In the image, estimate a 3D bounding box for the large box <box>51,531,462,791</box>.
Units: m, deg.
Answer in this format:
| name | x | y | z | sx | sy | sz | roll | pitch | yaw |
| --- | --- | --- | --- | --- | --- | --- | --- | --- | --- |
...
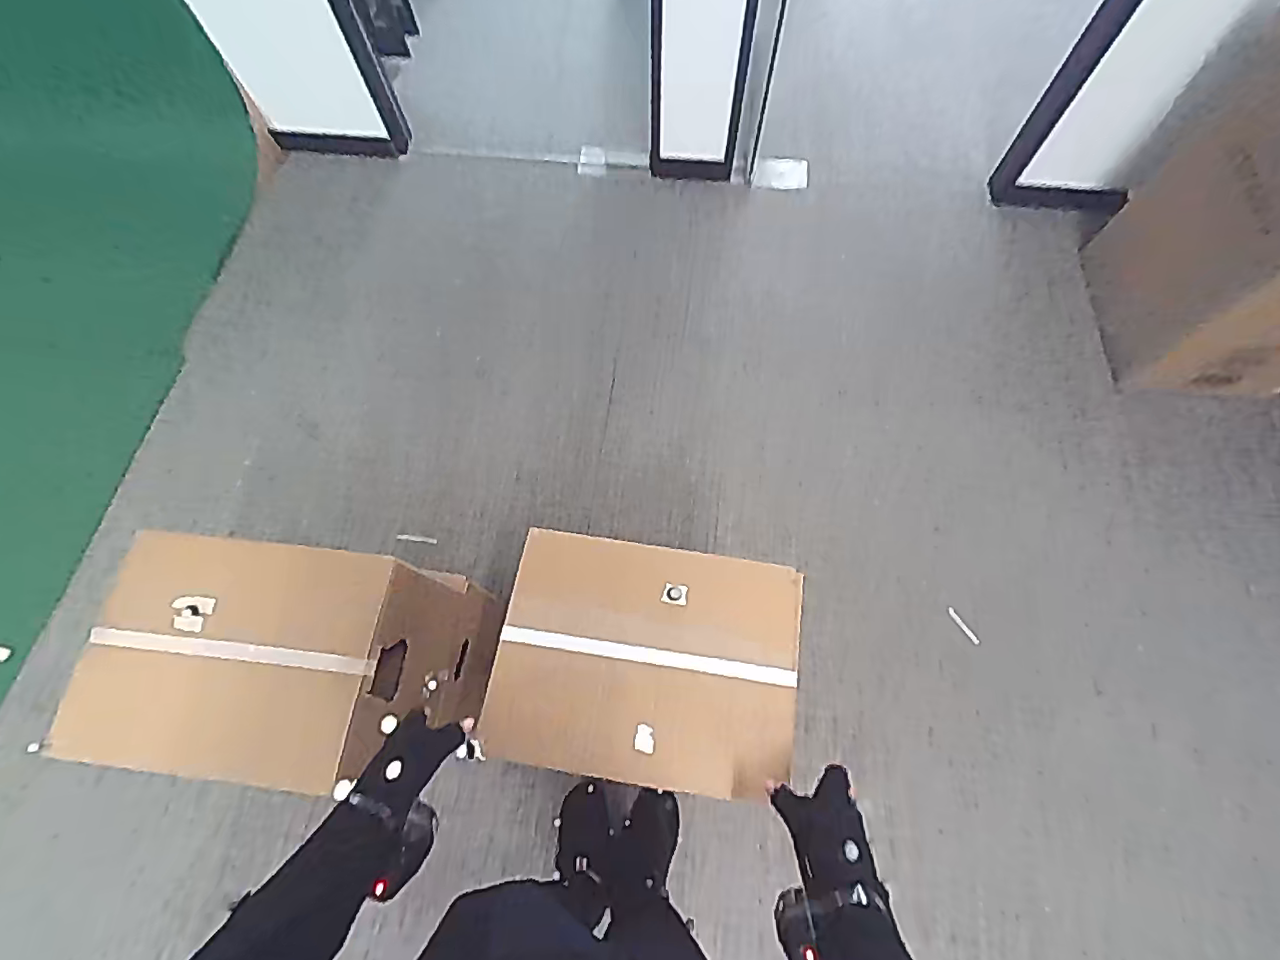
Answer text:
| name | x | y | z | sx | sy | sz | roll | pitch | yaw |
| --- | --- | --- | --- | --- | --- | --- | --- | --- | --- |
| large box | -0.564 | 0.285 | 0.892 | 0.408 | 0.320 | 0.320 | 6 | 70 | 5 |
